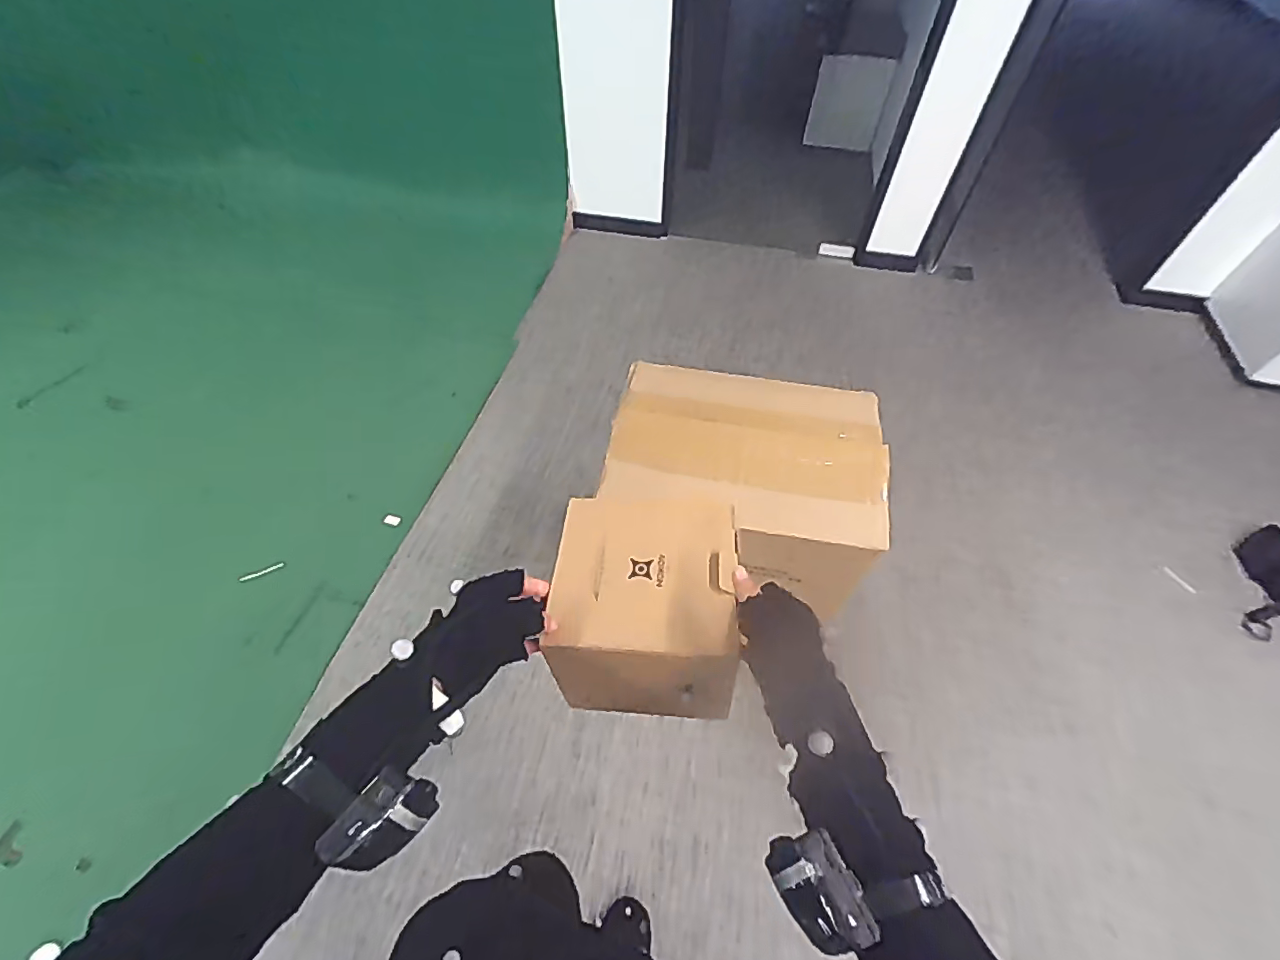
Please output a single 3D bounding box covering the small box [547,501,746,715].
[{"bbox_3d":[0.014,0.140,0.579,0.179,0.176,0.168,1,48,6],"label":"small box"}]
